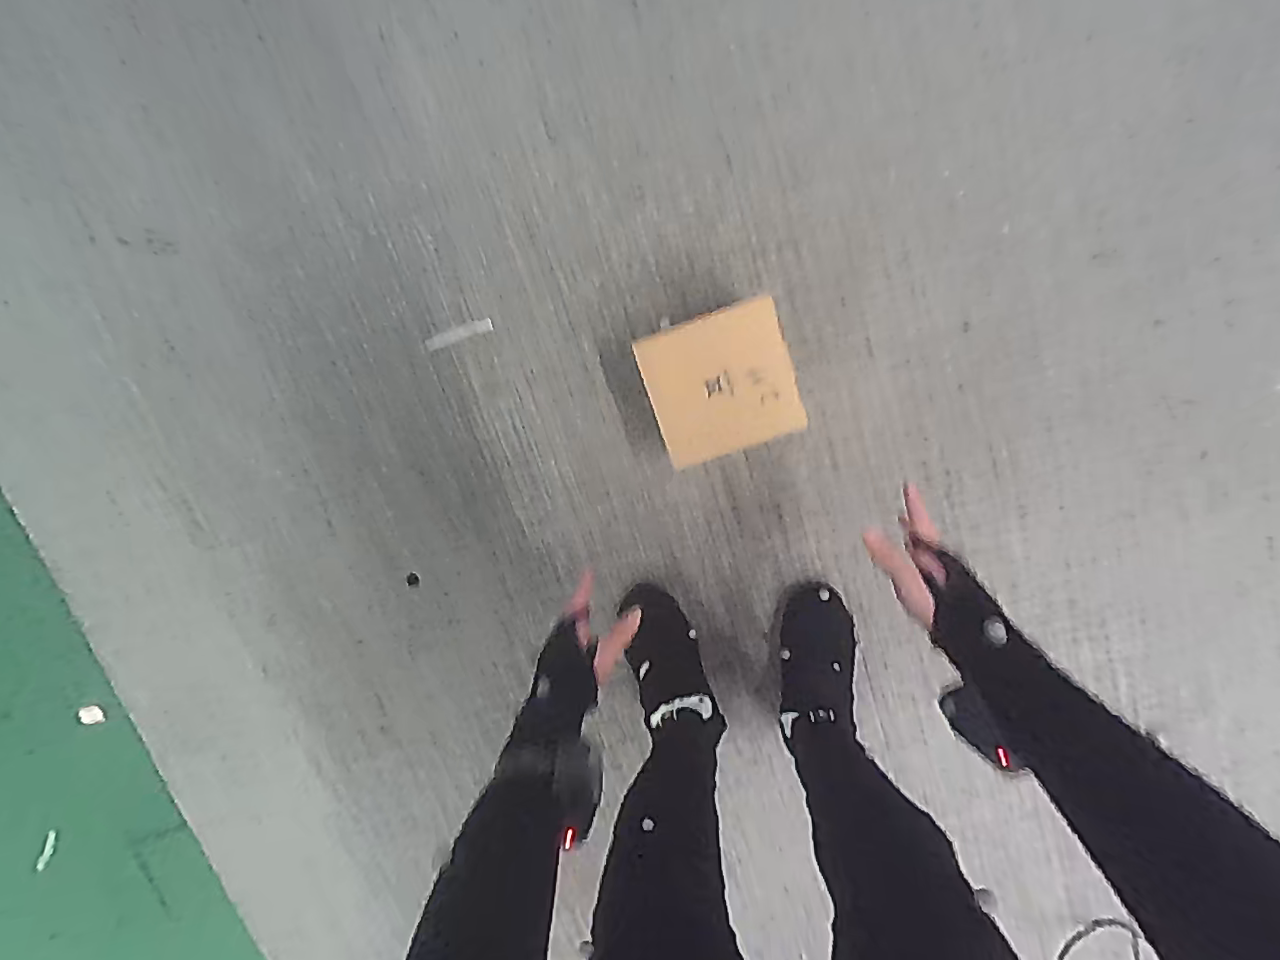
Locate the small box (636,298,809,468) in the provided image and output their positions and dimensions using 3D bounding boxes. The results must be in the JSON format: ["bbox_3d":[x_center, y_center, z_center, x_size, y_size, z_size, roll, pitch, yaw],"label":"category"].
[{"bbox_3d":[0.107,-0.129,0.732,0.179,0.176,0.168,-18,100,8],"label":"small box"}]
